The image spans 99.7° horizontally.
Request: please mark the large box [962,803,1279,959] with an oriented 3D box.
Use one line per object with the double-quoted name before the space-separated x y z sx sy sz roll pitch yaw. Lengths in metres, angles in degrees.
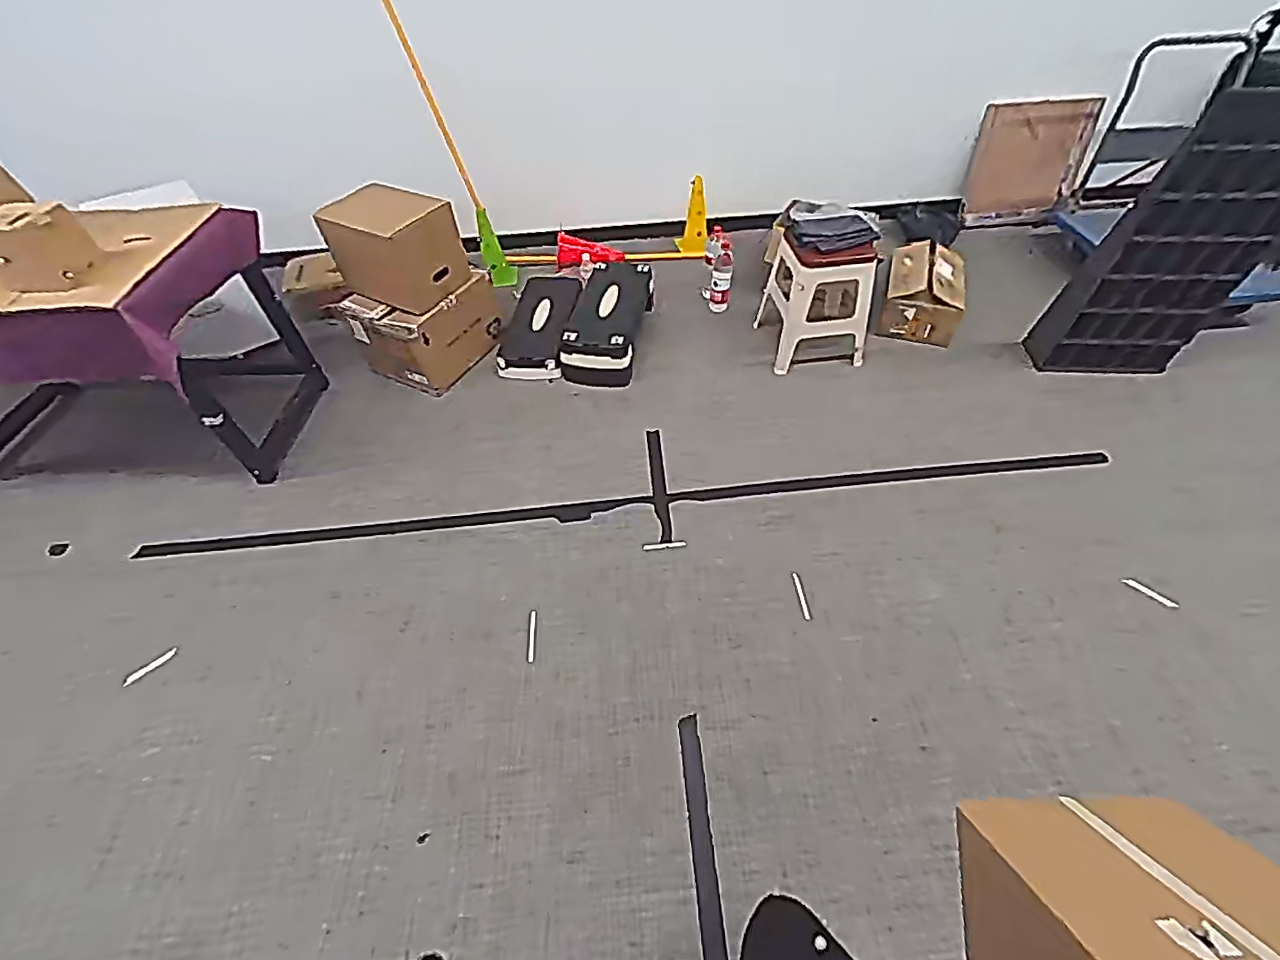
"large box" 0.623 0.633 0.606 0.320 0.408 0.320 -2 89 4
